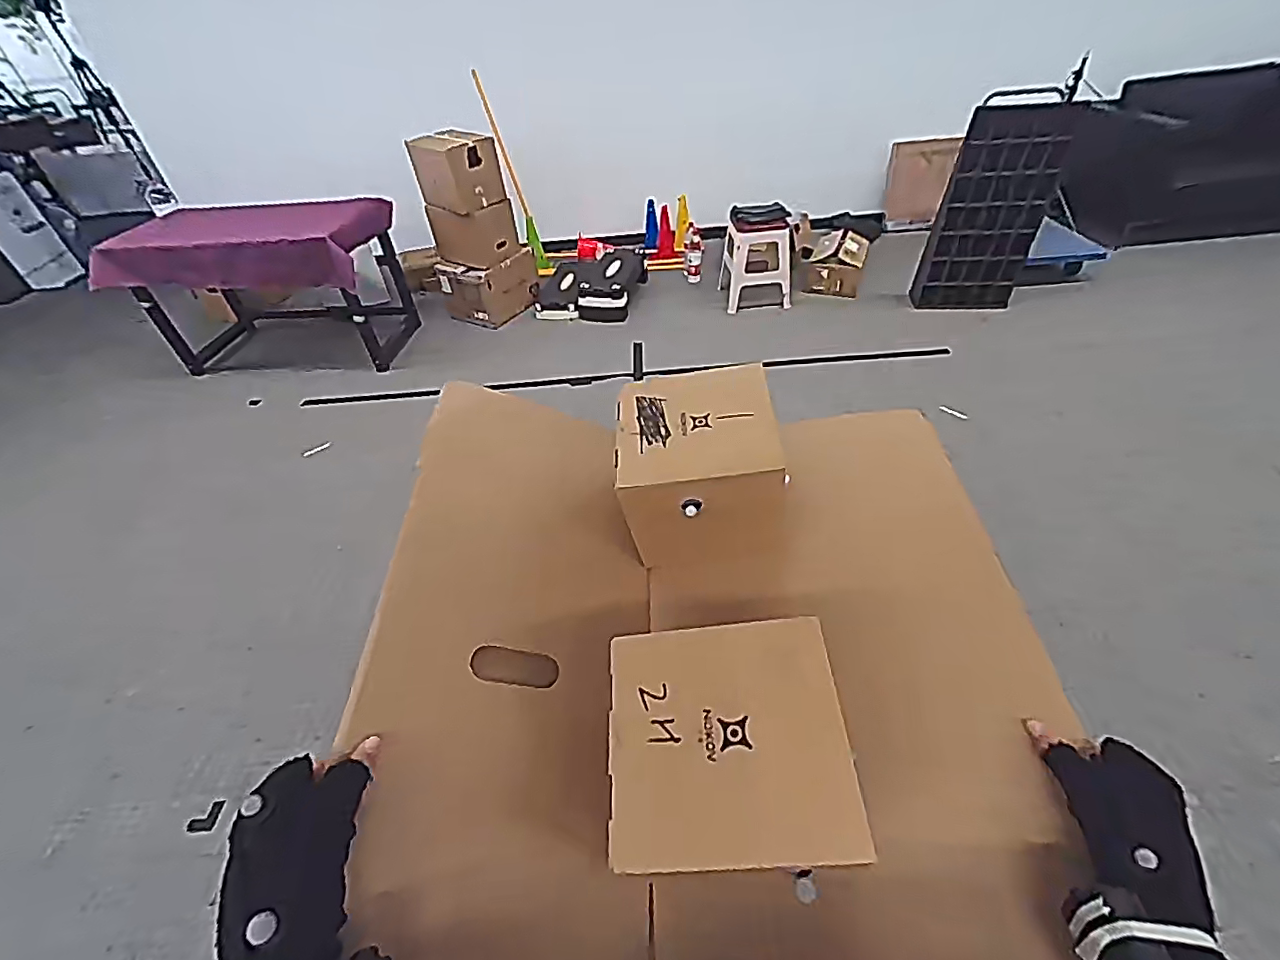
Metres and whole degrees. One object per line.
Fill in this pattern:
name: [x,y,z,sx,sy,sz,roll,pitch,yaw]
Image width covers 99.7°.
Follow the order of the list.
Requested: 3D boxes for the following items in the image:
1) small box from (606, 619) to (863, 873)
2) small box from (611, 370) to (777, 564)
small box: [0.077,0.238,0.474,0.179,0.176,0.168,-9,51,9]
small box: [0.070,-0.008,0.672,0.179,0.176,0.168,-7,51,9]
